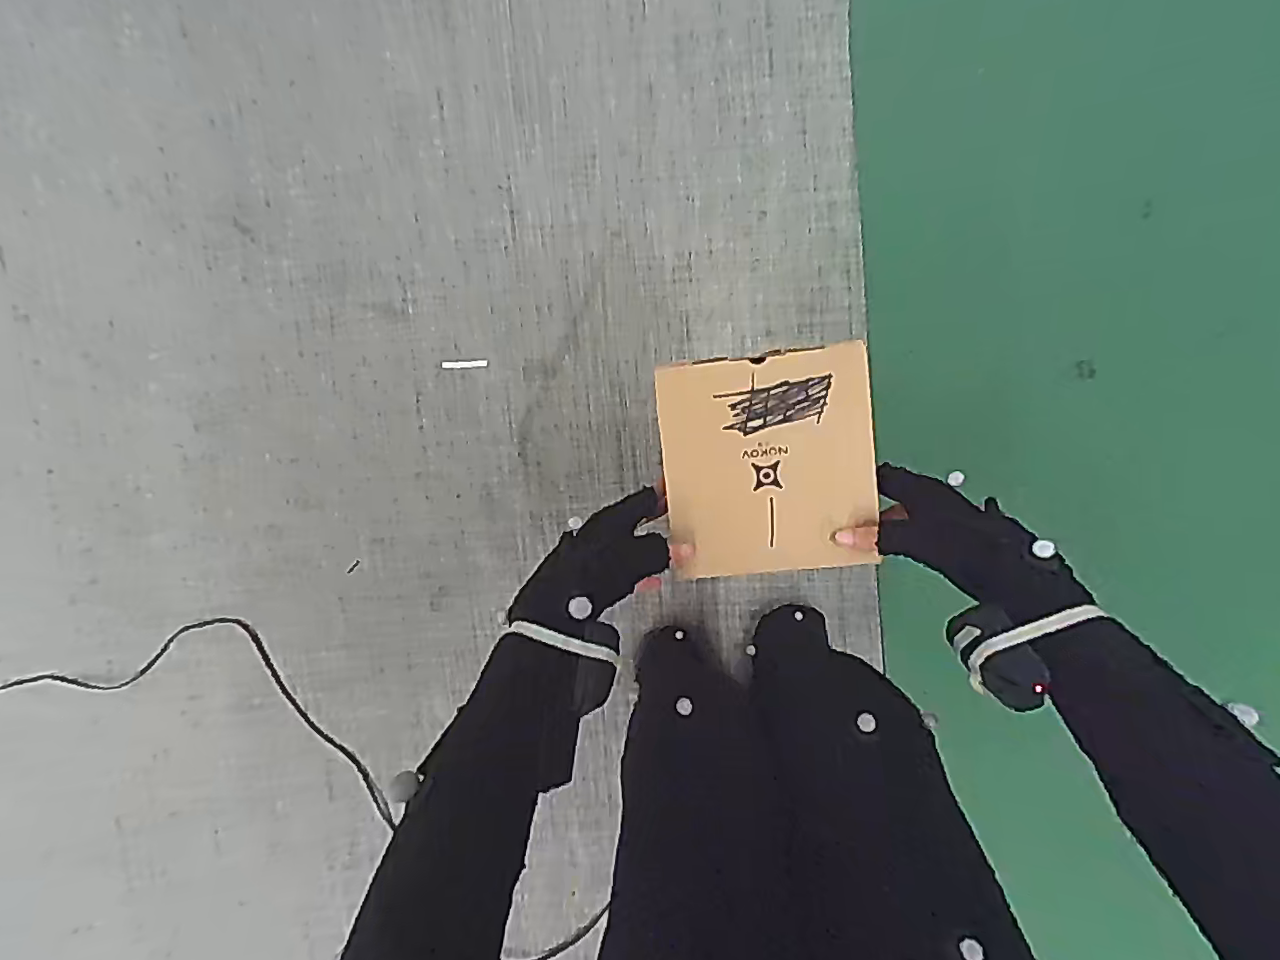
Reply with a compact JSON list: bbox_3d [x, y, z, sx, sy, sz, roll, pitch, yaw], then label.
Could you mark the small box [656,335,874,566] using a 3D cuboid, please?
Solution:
[{"bbox_3d":[0.109,-0.028,0.517,0.168,0.176,0.179,-6,95,7],"label":"small box"}]
